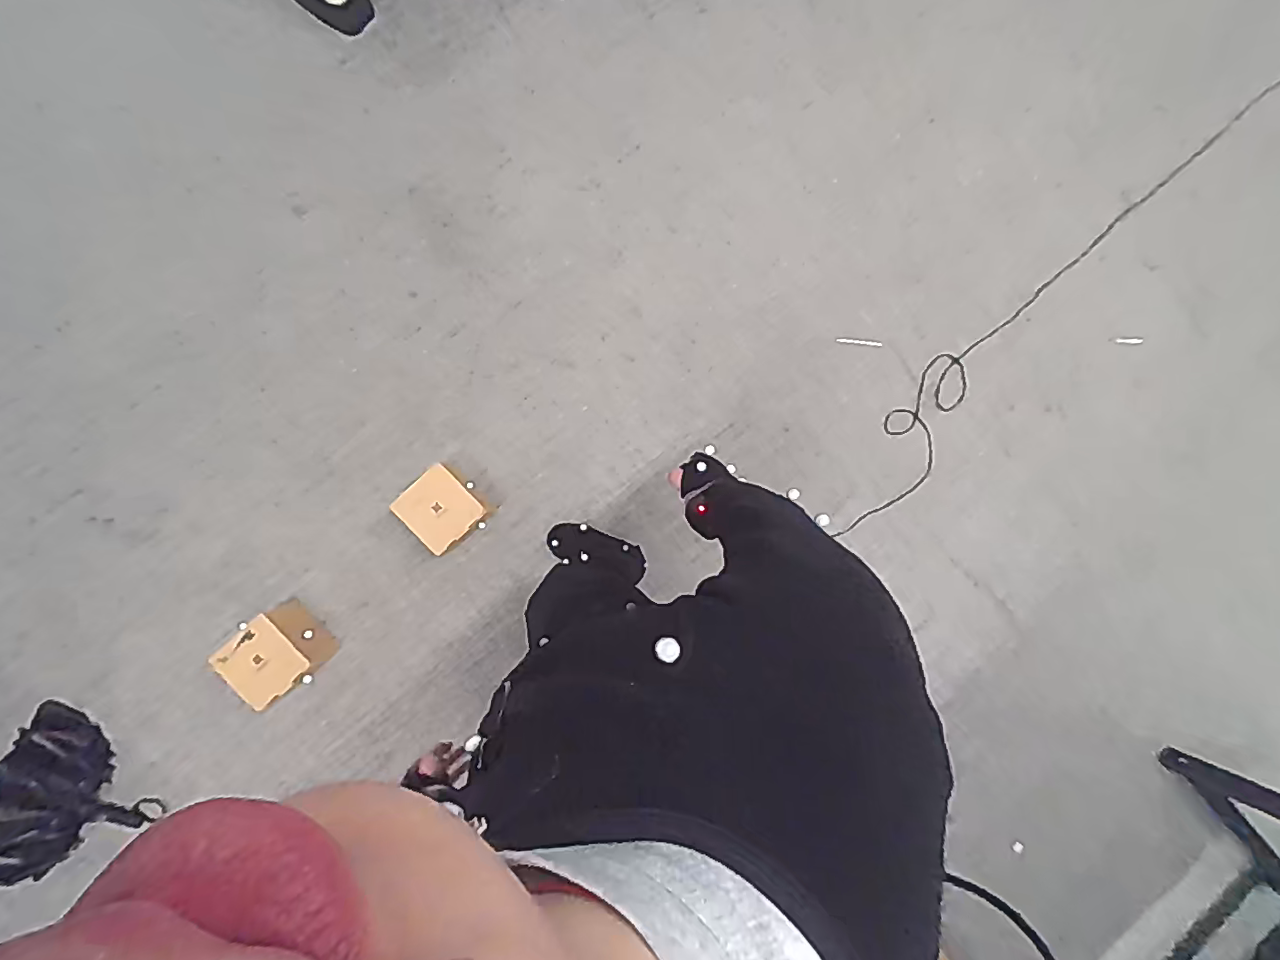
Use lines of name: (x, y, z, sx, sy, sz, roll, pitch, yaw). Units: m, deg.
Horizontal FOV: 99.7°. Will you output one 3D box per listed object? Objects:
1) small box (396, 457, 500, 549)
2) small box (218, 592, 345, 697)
small box: (-0.494, 0.059, 1.426, 0.168, 0.176, 0.179, -43, 91, -5)
small box: (-0.904, 0.411, 1.386, 0.168, 0.176, 0.179, -42, 93, -5)
